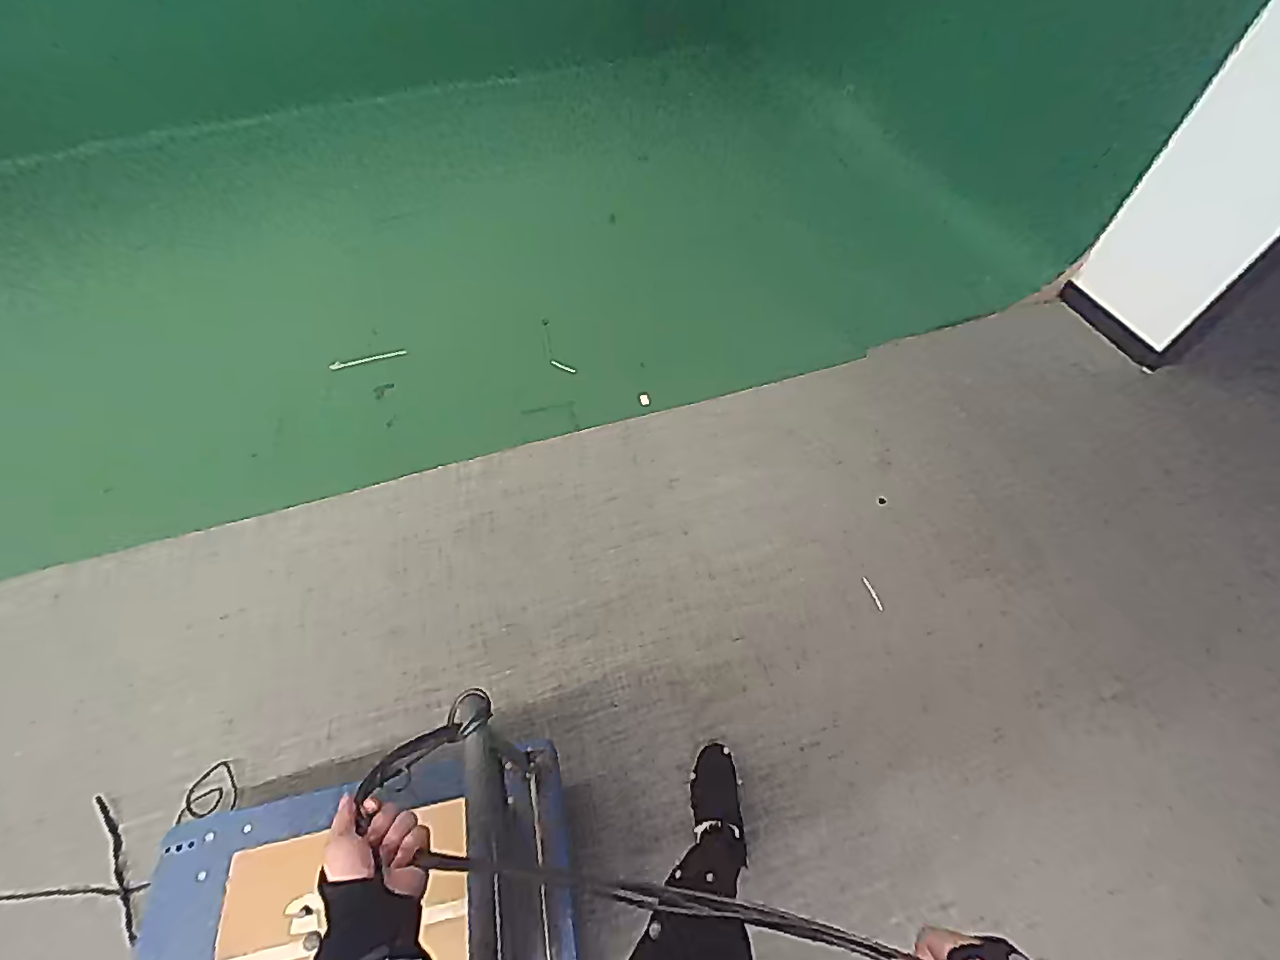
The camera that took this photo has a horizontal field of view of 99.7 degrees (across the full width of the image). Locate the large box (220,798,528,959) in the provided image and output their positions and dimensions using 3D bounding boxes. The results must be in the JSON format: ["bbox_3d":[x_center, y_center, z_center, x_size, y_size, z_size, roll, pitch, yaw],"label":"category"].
[{"bbox_3d":[-0.442,0.797,0.966,0.408,0.320,0.320,-12,56,-4],"label":"large box"}]
